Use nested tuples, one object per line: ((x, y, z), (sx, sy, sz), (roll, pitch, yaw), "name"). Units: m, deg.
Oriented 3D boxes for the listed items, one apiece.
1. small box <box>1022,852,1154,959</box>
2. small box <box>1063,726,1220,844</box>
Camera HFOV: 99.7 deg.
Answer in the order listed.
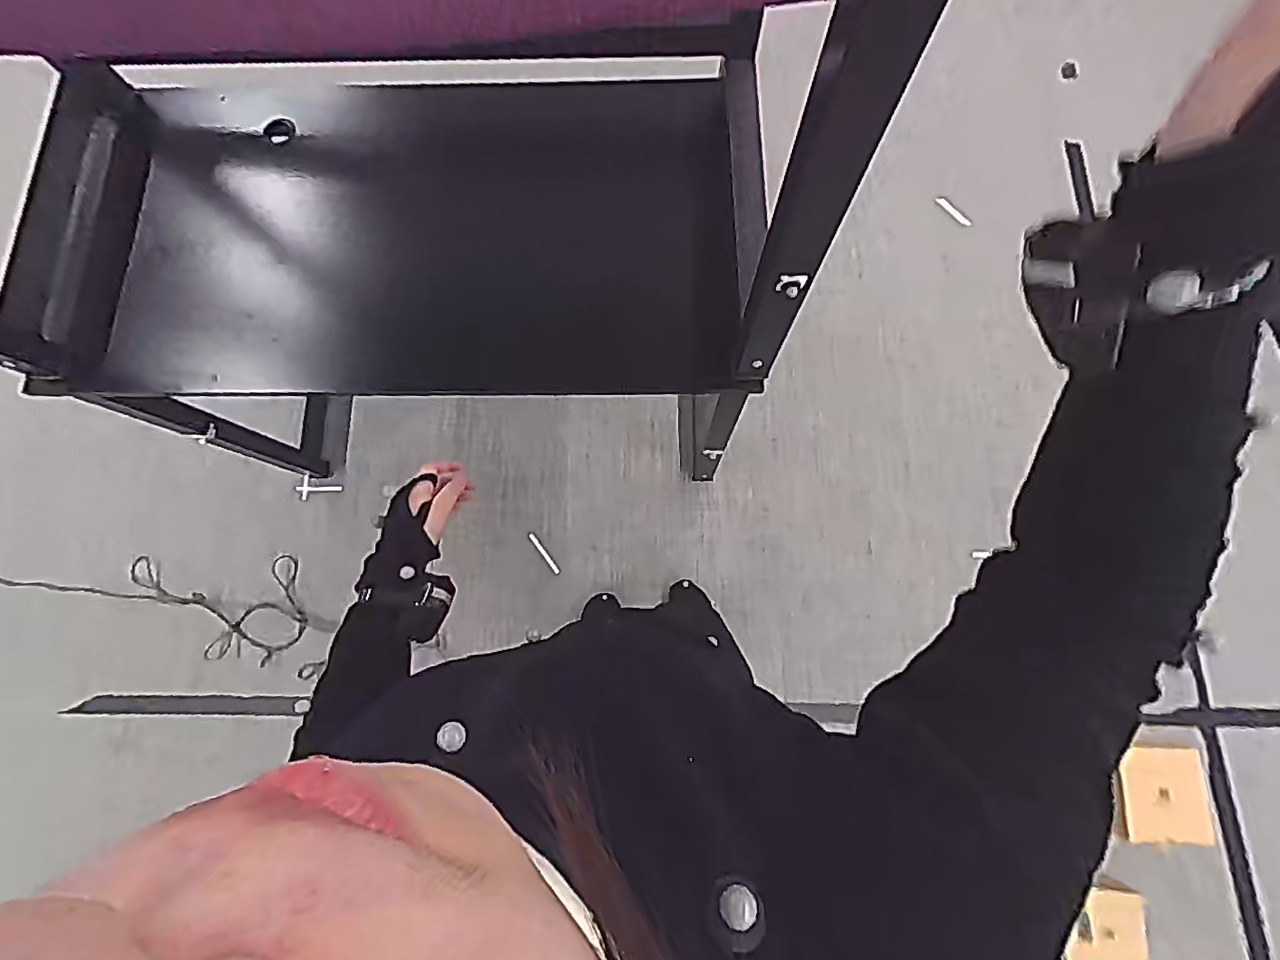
((1.011, 0.984, 1.239), (0.179, 0.176, 0.168), (5, 78, 2), "small box")
((1.046, 0.635, 1.143), (0.168, 0.176, 0.179), (1, 77, 1), "small box")
